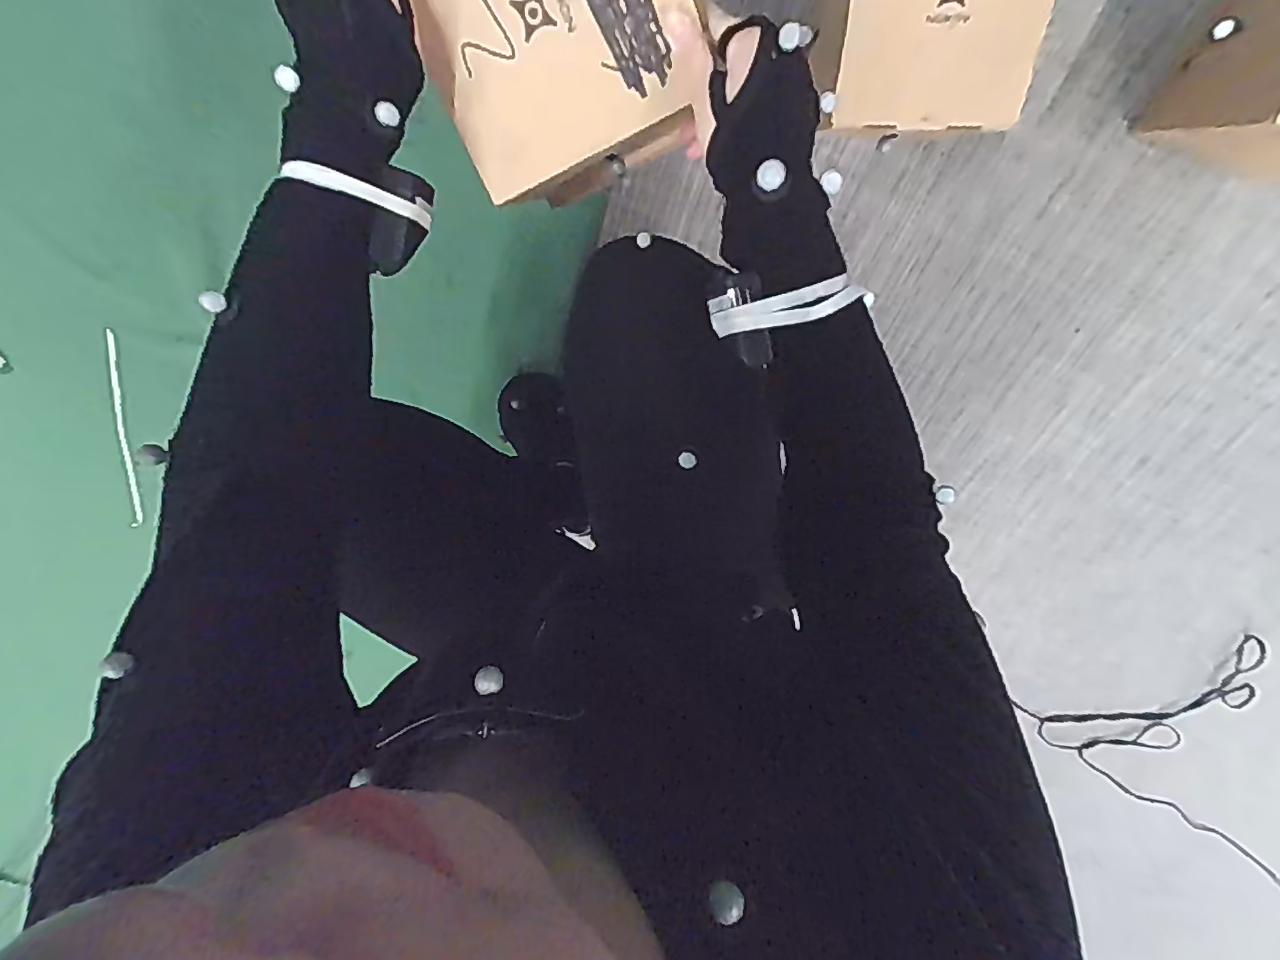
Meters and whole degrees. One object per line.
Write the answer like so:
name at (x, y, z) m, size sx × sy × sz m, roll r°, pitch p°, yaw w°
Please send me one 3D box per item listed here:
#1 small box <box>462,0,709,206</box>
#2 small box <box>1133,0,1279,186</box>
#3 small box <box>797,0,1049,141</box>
small box at (-0.041, -0.401, 0.551) m, size 0.179 × 0.176 × 0.168 m, roll -21°, pitch 116°, yaw 14°
small box at (0.652, -0.390, 0.512) m, size 0.179 × 0.176 × 0.168 m, roll 16°, pitch 119°, yaw -7°
small box at (0.256, -0.429, 0.515) m, size 0.168 × 0.176 × 0.179 m, roll 3°, pitch 121°, yaw 2°
